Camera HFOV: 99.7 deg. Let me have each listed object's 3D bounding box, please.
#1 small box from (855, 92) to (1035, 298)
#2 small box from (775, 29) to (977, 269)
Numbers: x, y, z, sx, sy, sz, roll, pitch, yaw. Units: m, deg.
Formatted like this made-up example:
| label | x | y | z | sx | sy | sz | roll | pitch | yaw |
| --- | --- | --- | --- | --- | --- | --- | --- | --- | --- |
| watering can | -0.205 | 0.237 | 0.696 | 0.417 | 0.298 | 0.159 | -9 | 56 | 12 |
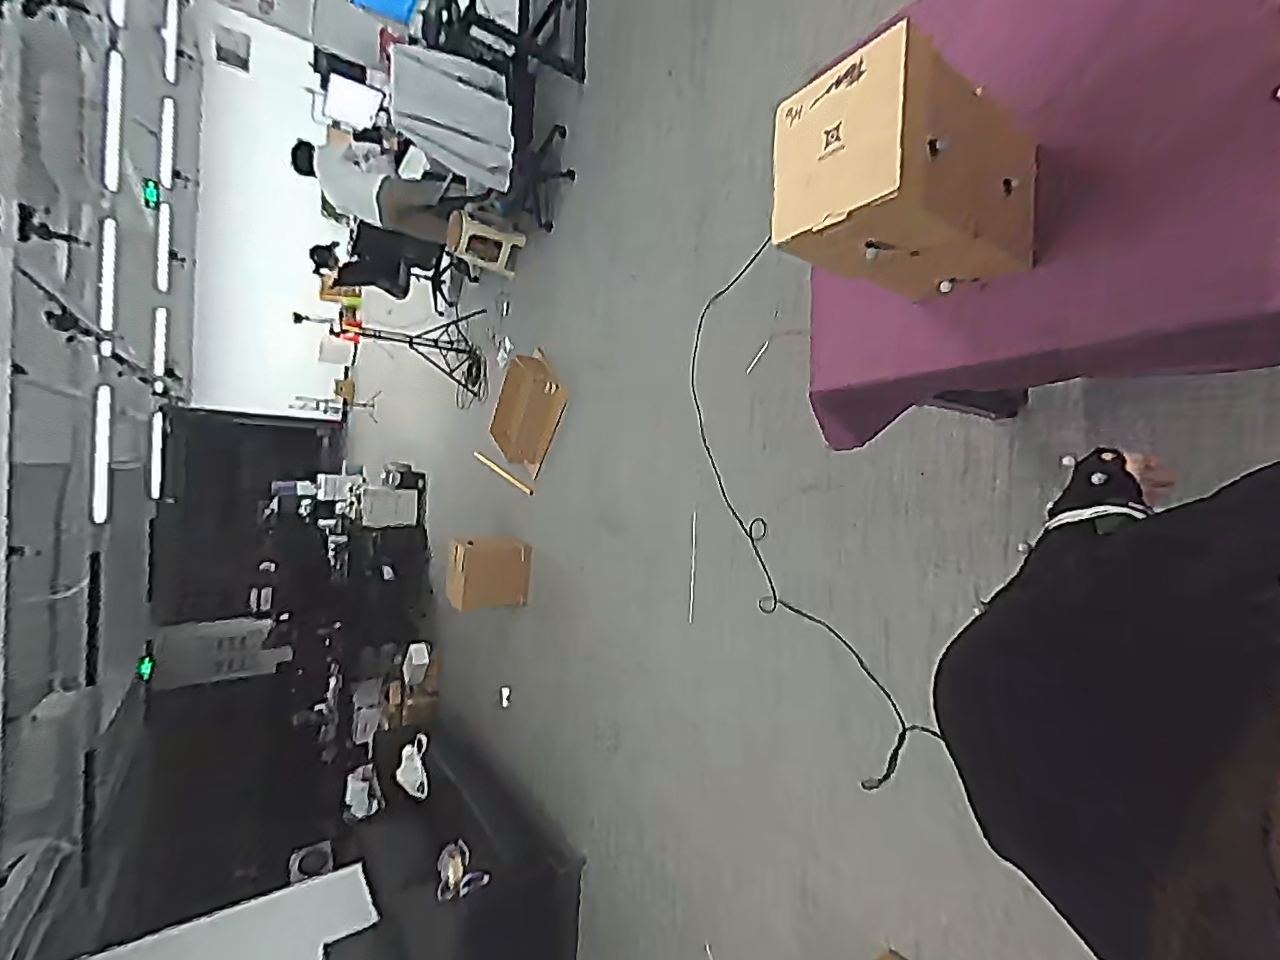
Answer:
| label | x | y | z | sx | sy | sz | roll | pitch | yaw |
| --- | --- | --- | --- | --- | --- | --- | --- | --- | --- |
| small box | 0.420 | -0.374 | 0.748 | 0.168 | 0.176 | 0.179 | 2 | 90 | 54 |
| small box | 0.285 | -0.372 | 0.655 | 0.168 | 0.176 | 0.179 | 2 | 91 | 53 |
